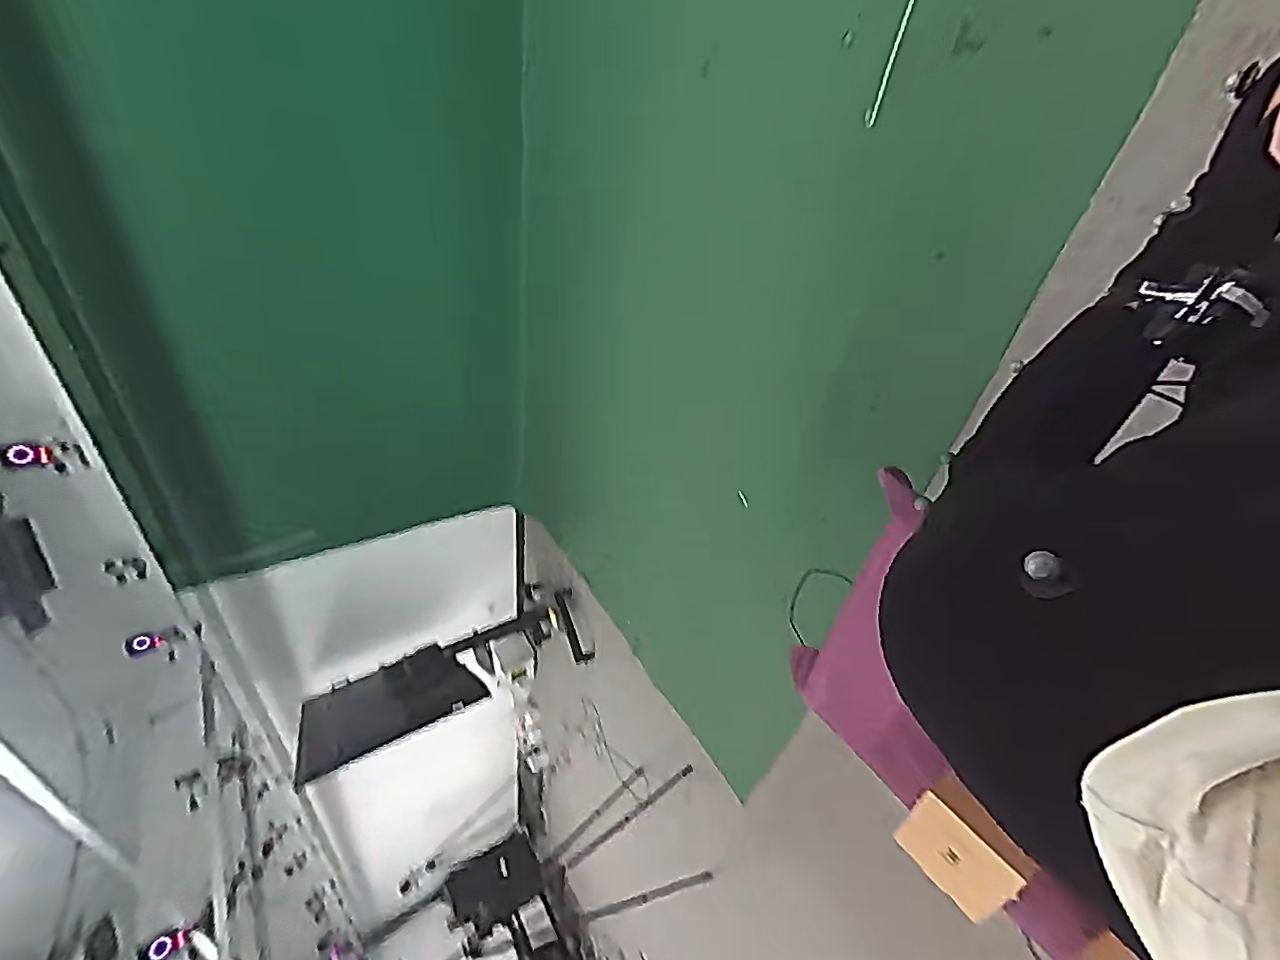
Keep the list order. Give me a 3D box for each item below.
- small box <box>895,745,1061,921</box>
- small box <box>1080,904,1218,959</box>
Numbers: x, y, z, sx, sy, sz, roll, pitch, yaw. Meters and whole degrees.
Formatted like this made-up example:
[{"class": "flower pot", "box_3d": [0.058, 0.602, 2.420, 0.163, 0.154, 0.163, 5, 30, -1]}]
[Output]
[{"class": "small box", "box_3d": [0.601, 0.621, 0.965, 0.168, 0.176, 0.179, 41, 135, 40]}, {"class": "small box", "box_3d": [0.759, 0.771, 0.782, 0.168, 0.176, 0.179, 42, 137, 41]}]
